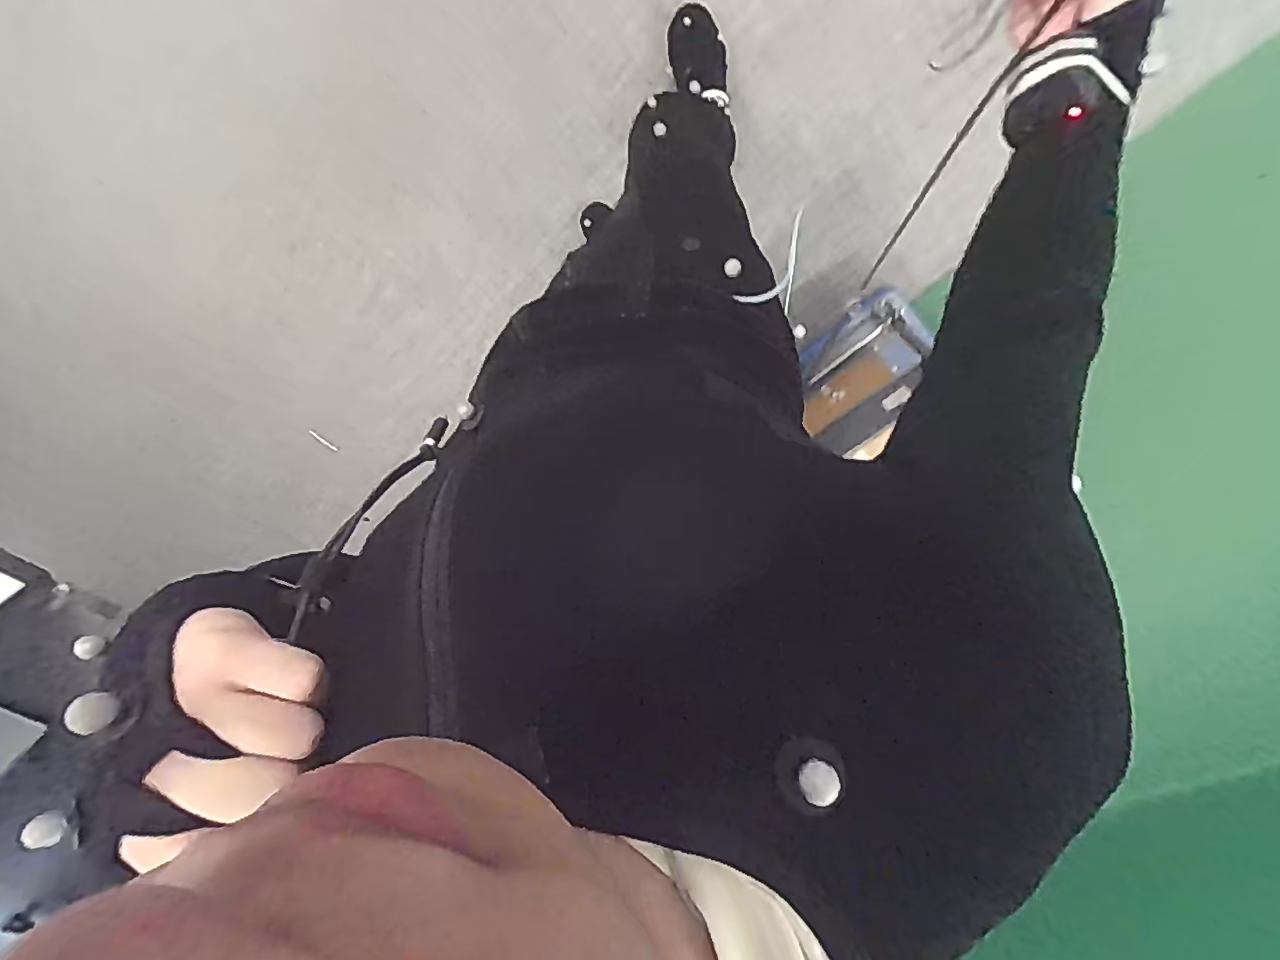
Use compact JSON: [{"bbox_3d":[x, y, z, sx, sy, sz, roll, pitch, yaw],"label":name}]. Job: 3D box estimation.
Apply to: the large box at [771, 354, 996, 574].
[{"bbox_3d":[0.599,-0.040,1.385,0.320,0.320,0.408,-37,116,24],"label":"large box"}]
